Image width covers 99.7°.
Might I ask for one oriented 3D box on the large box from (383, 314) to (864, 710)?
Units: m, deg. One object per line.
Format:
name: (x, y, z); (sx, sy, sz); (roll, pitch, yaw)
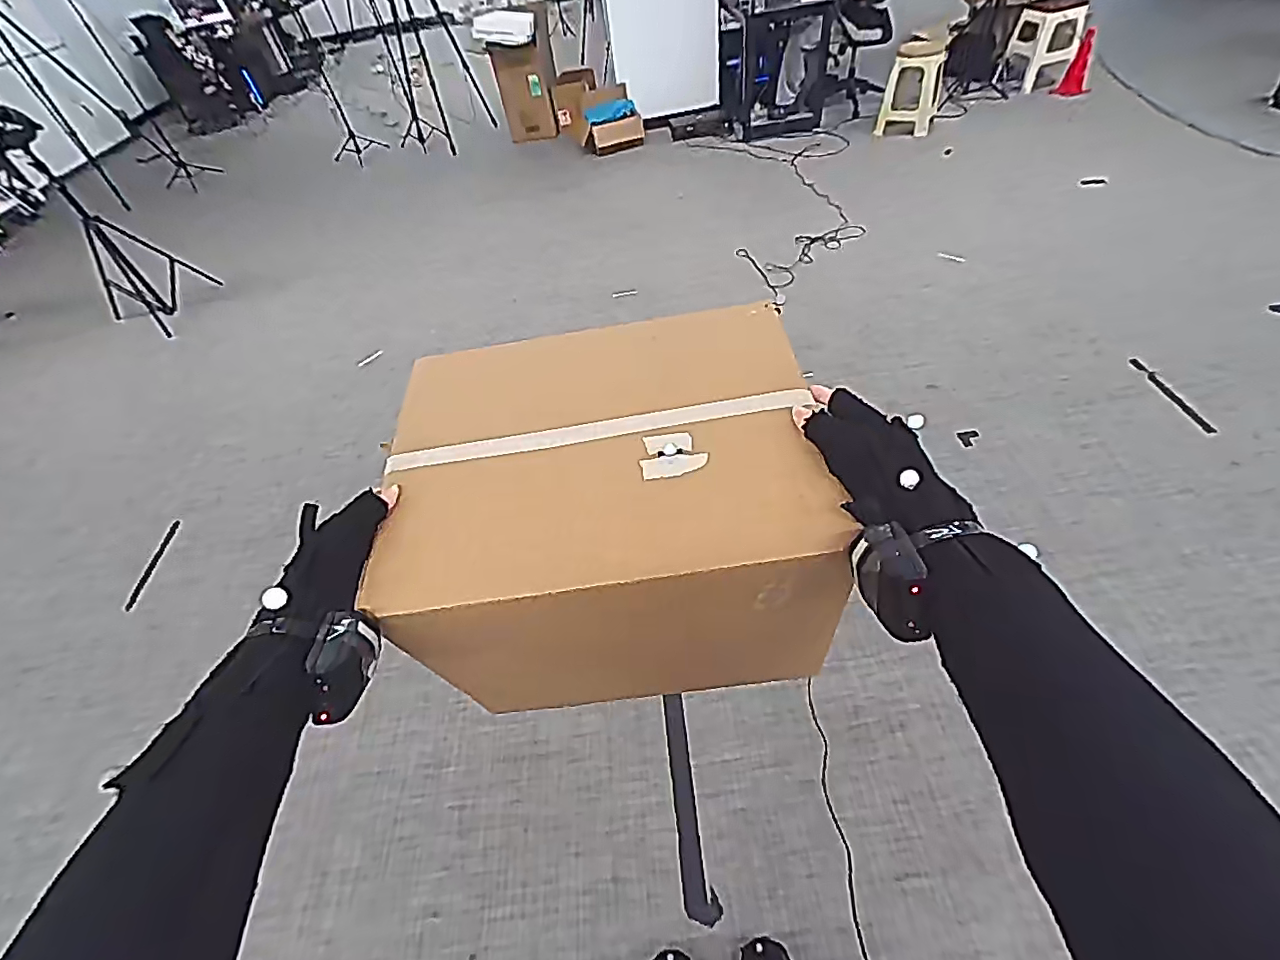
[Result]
large box: (-0.014, 0.051, 0.641); (0.408, 0.320, 0.320); (-8, 53, 2)
